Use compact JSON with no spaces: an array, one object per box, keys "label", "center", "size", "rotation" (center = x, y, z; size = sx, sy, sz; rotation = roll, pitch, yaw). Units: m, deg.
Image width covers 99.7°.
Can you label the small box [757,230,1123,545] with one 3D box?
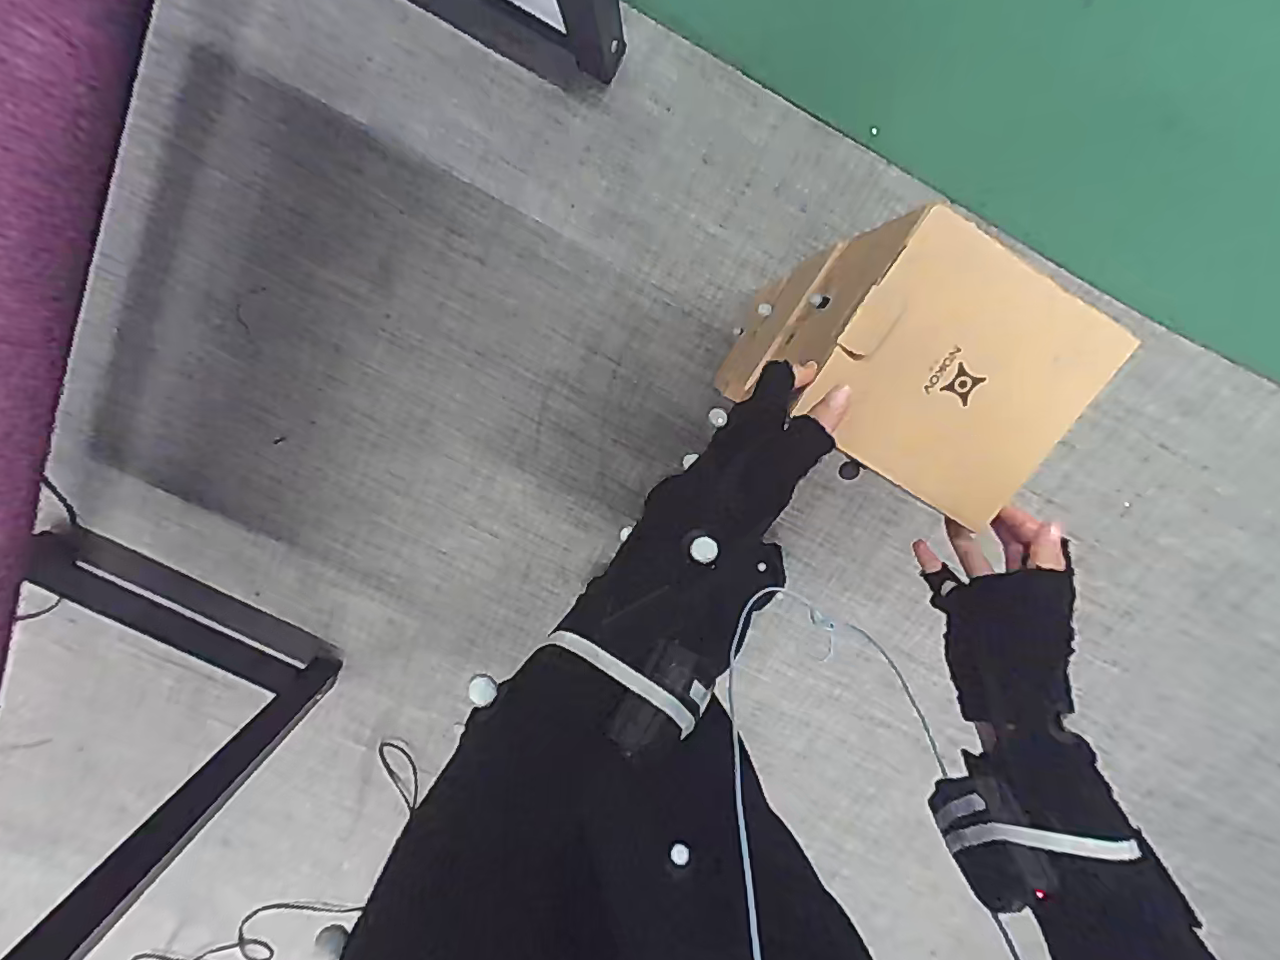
[{"label":"small box","center":[0.224,-0.080,0.460],"size":[0.179,0.176,0.168],"rotation":[32,105,-6]}]

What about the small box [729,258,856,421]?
[{"label":"small box","center":[0.222,-0.125,0.617],"size":[0.179,0.176,0.168],"rotation":[33,104,-6]}]
